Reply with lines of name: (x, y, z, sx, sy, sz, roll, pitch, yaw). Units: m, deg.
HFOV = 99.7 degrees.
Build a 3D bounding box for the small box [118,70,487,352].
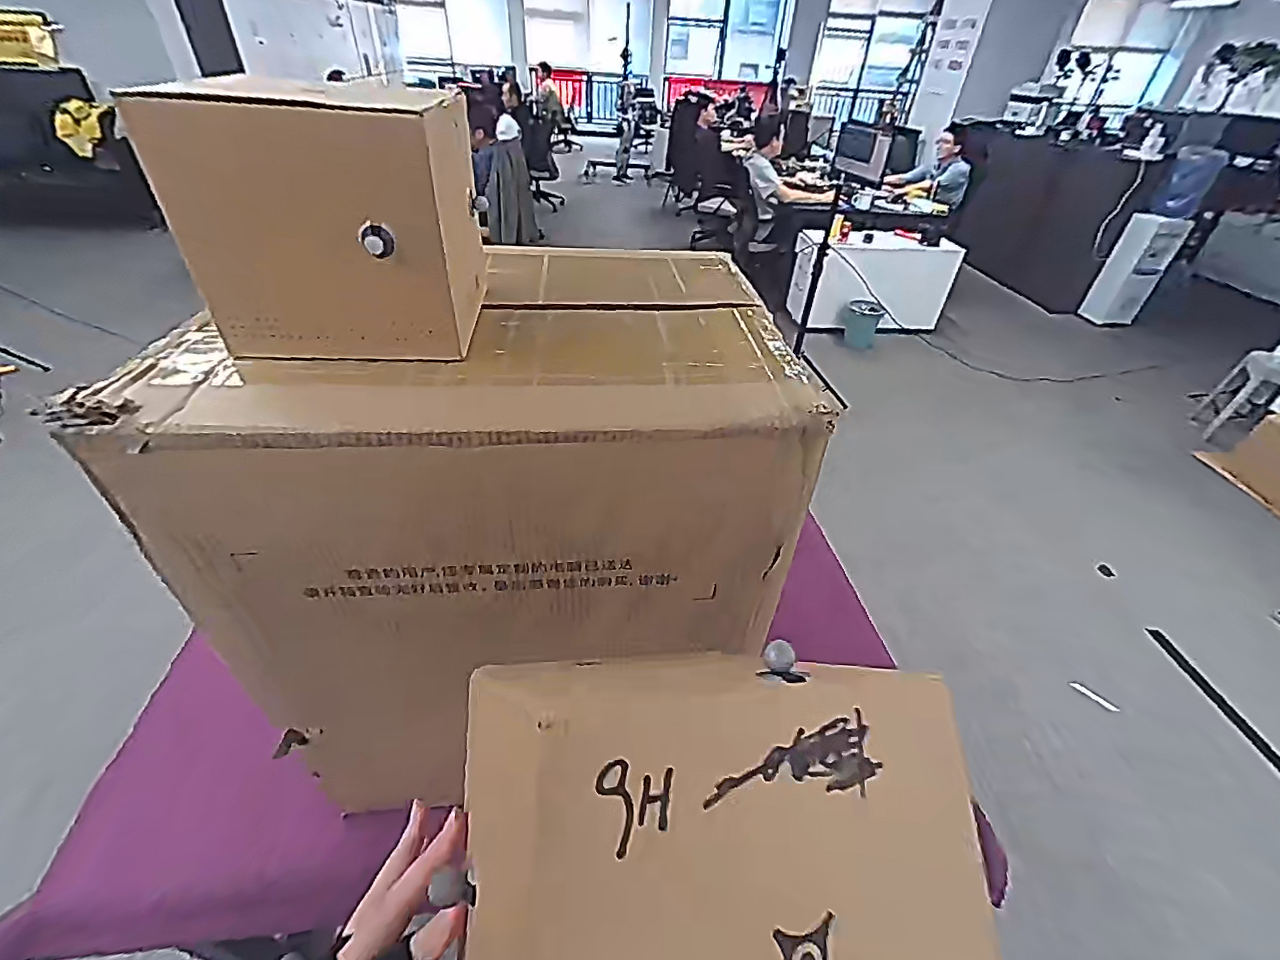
small box: (-0.224, -0.210, 0.427, 0.179, 0.176, 0.168, -2, 38, -7)
